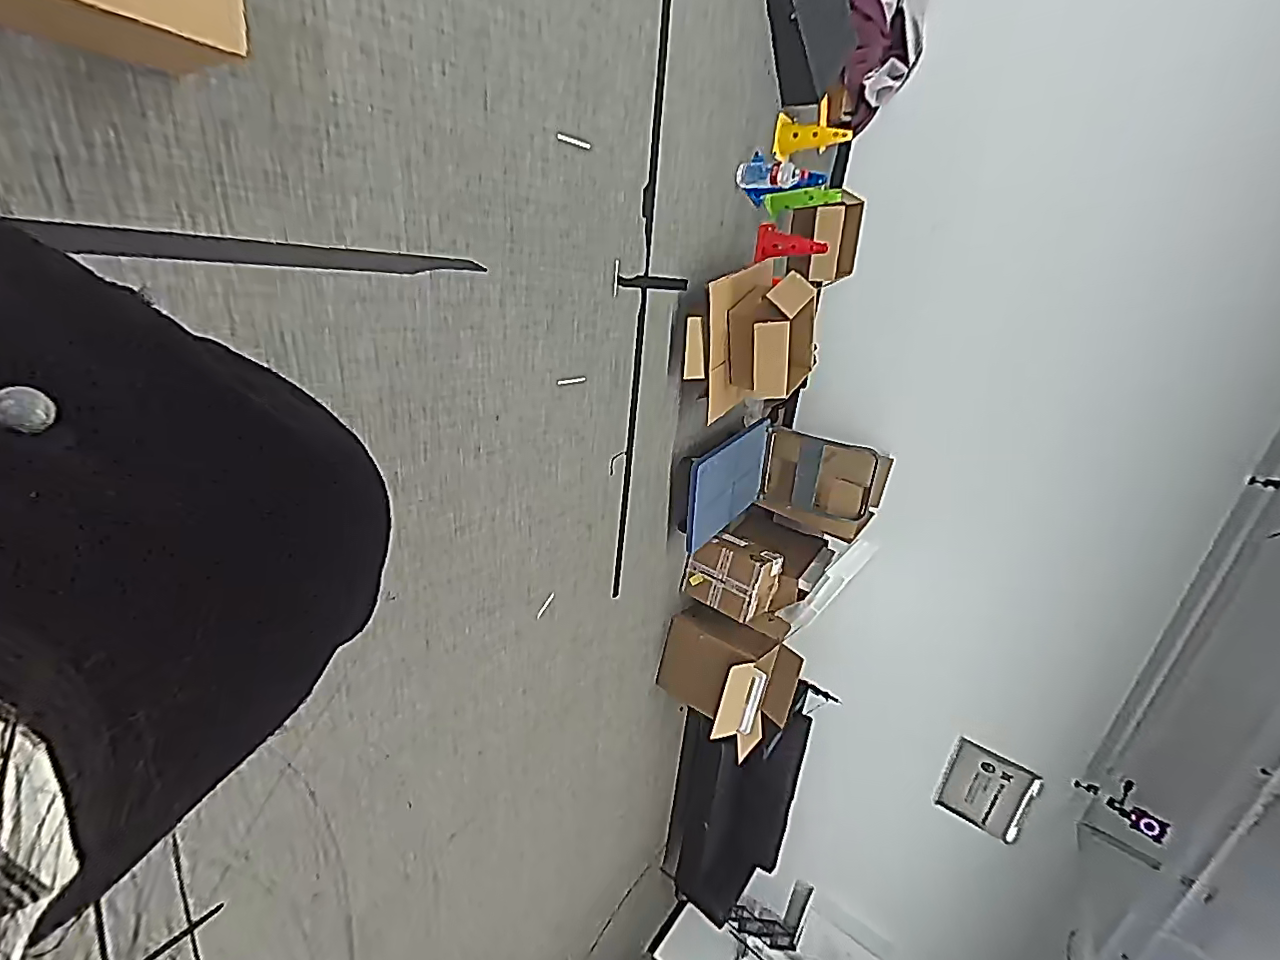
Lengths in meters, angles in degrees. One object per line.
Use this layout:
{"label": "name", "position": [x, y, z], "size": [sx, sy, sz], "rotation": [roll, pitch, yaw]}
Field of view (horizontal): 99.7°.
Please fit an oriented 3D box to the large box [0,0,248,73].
{"label": "large box", "position": [-0.847, -0.820, 0.736], "size": [0.408, 0.320, 0.320], "rotation": [-20, 124, -52]}
